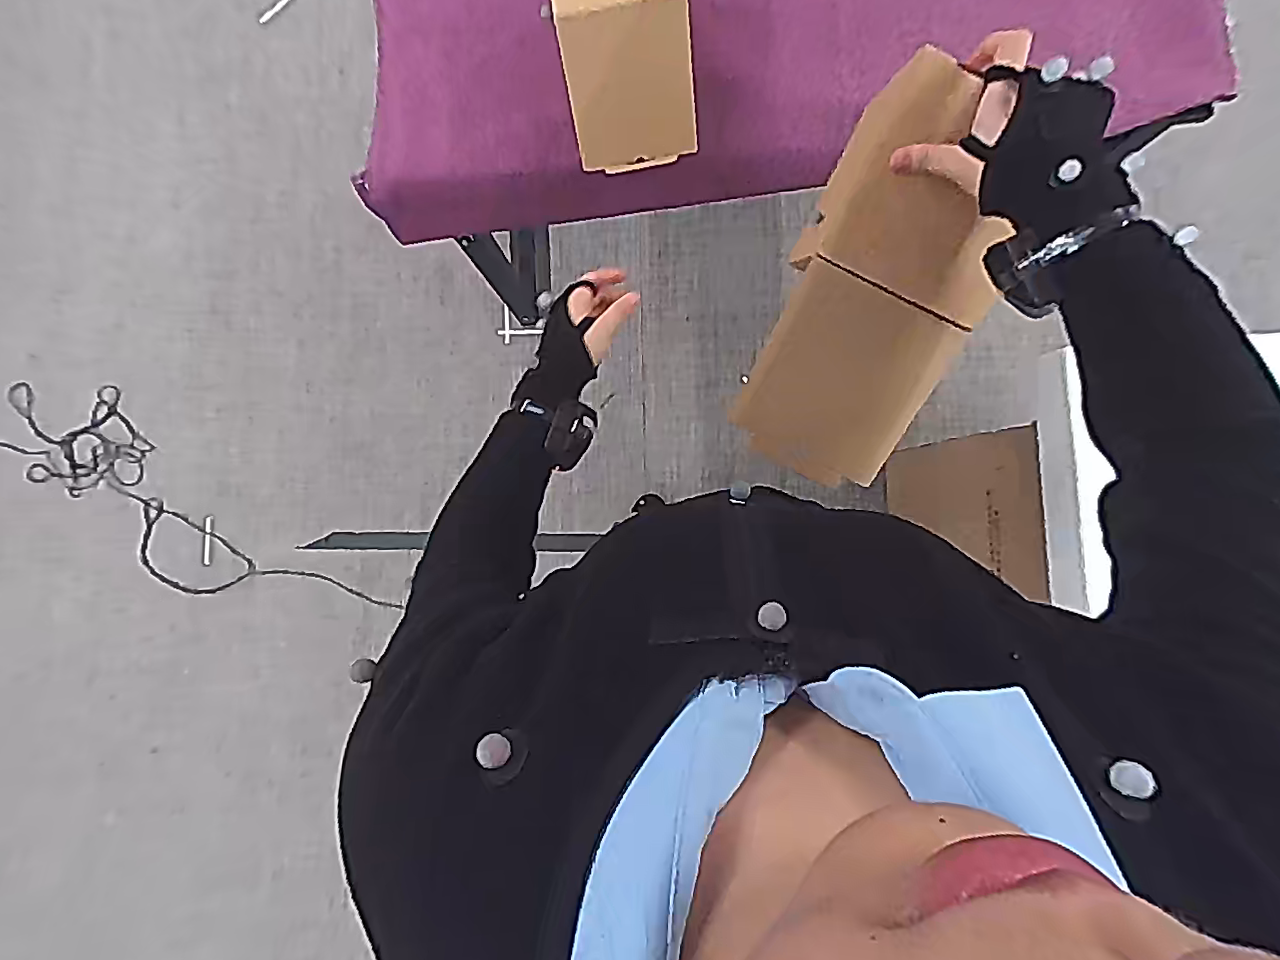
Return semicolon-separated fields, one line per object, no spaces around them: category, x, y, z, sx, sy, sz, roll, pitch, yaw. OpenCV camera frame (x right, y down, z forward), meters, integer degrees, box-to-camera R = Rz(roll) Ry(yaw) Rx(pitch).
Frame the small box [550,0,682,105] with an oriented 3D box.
small box;-0.034;-0.653;0.739;0.168;0.176;0.179;-9;85;2
